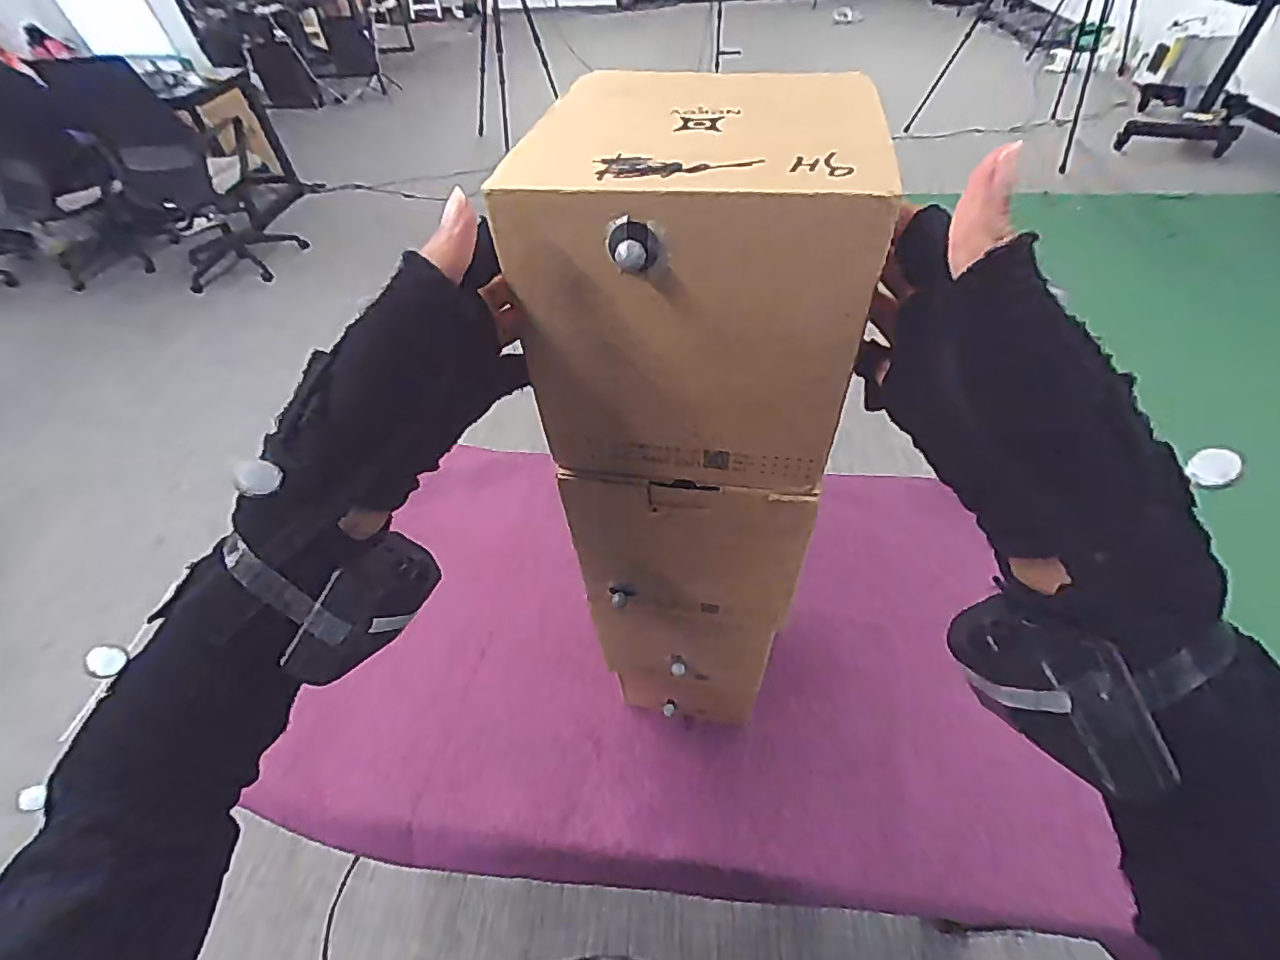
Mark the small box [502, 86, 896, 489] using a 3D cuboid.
[{"bbox_3d":[0.039,-0.120,0.331,0.168,0.176,0.179,6,48,11],"label":"small box"}]

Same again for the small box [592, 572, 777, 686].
[{"bbox_3d":[0.056,0.095,0.579,0.168,0.176,0.179,5,49,10],"label":"small box"}]

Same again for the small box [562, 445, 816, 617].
[{"bbox_3d":[0.049,-0.007,0.450,0.168,0.176,0.179,5,48,10],"label":"small box"}]

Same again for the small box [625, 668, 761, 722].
[{"bbox_3d":[0.072,0.192,0.711,0.168,0.176,0.179,6,50,10],"label":"small box"}]
